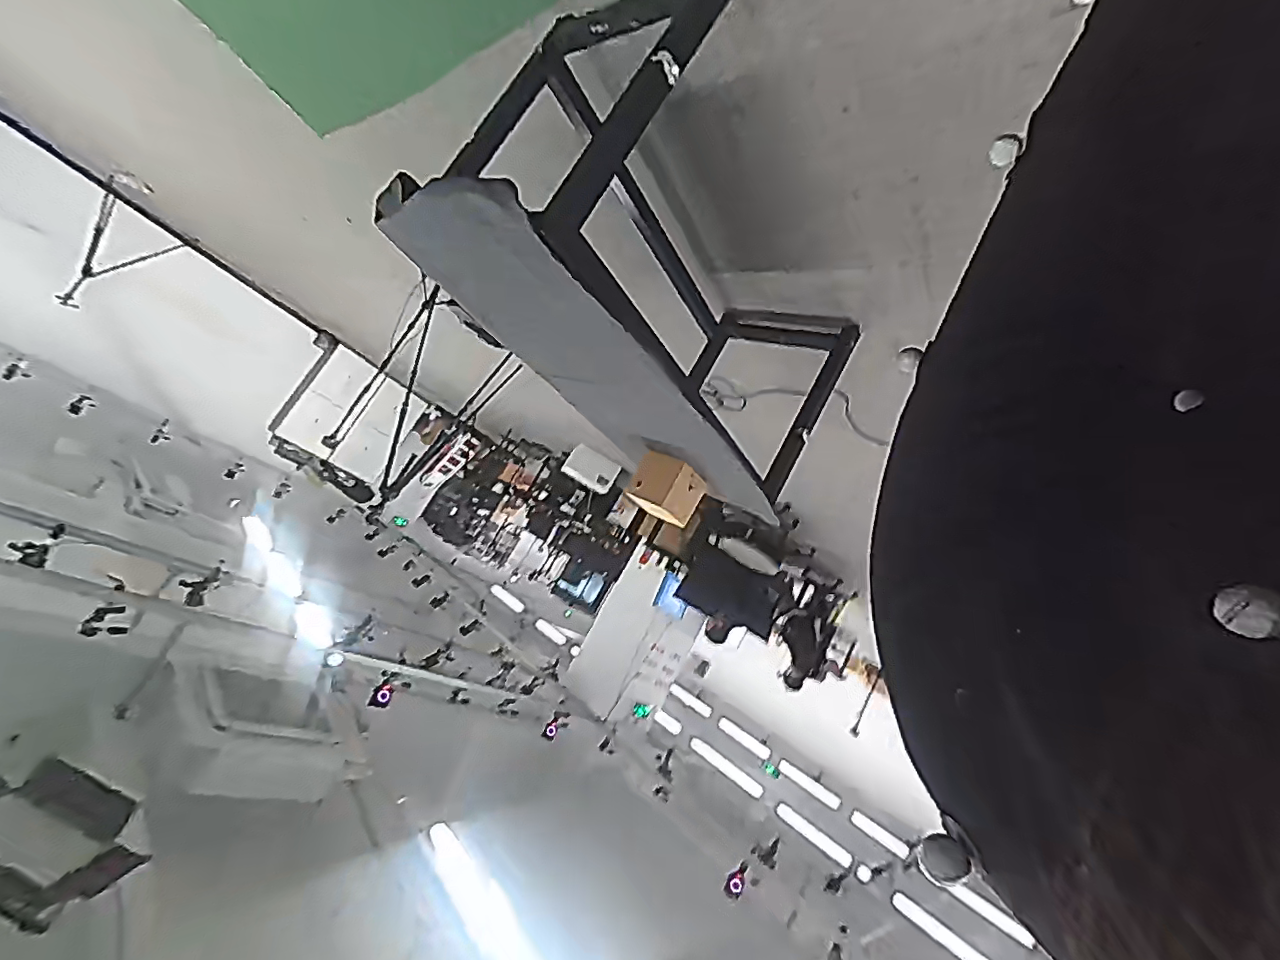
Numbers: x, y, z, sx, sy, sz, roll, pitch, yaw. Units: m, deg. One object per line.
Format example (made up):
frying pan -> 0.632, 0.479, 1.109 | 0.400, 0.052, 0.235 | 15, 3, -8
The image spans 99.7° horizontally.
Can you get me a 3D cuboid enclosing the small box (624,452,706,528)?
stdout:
small box -> 0.087, 0.028, 1.787 | 0.179, 0.176, 0.168 | 21, 166, 42
